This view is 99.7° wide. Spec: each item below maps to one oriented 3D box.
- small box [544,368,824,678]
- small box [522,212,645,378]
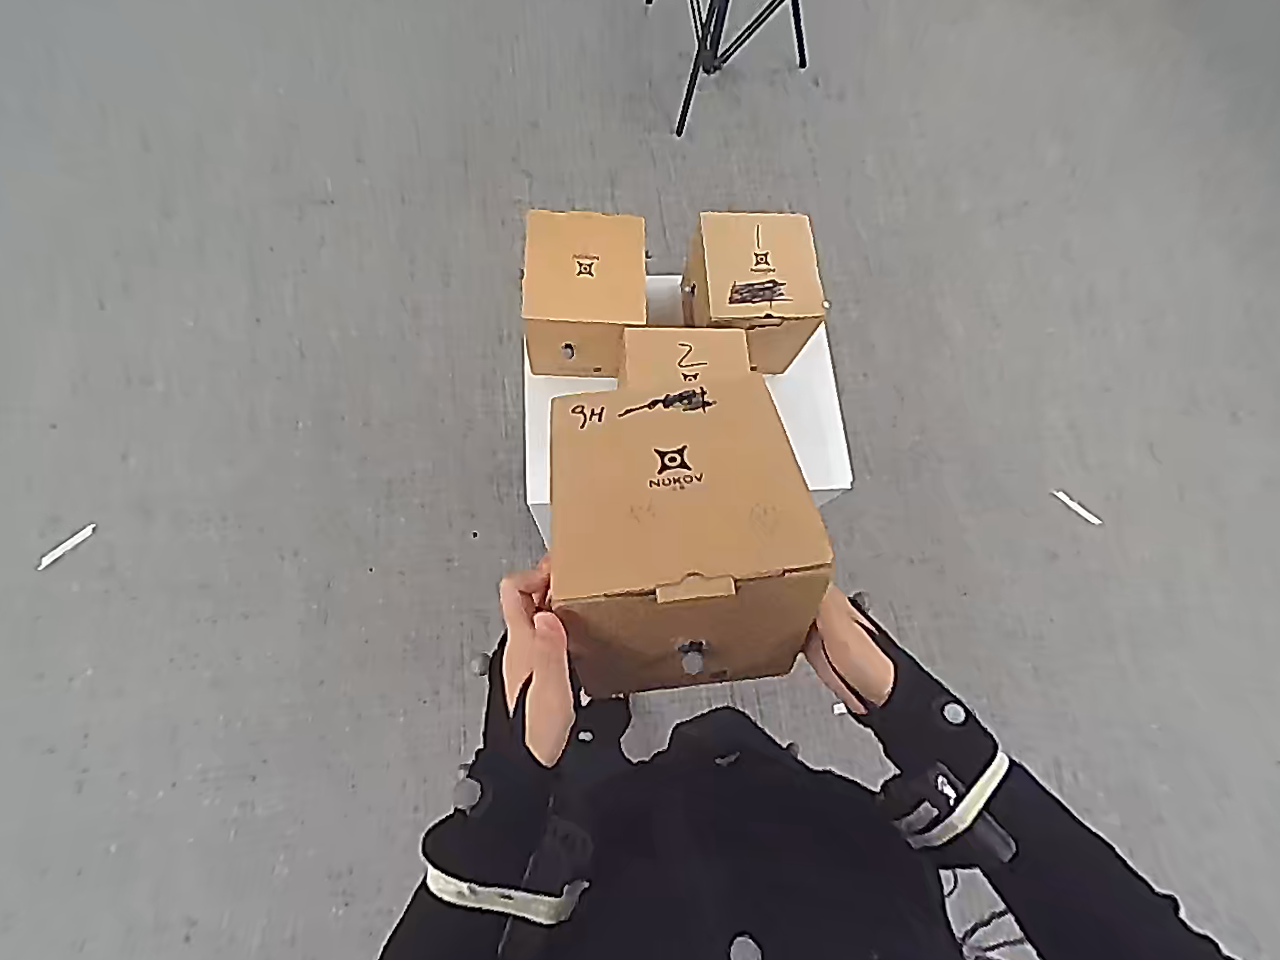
[{"bbox_3d":[0.024,0.041,0.420,0.168,0.176,0.179,-7,52,-1],"label":"small box"},{"bbox_3d":[-0.081,-0.266,0.809,0.168,0.176,0.179,1,74,-6],"label":"small box"}]
